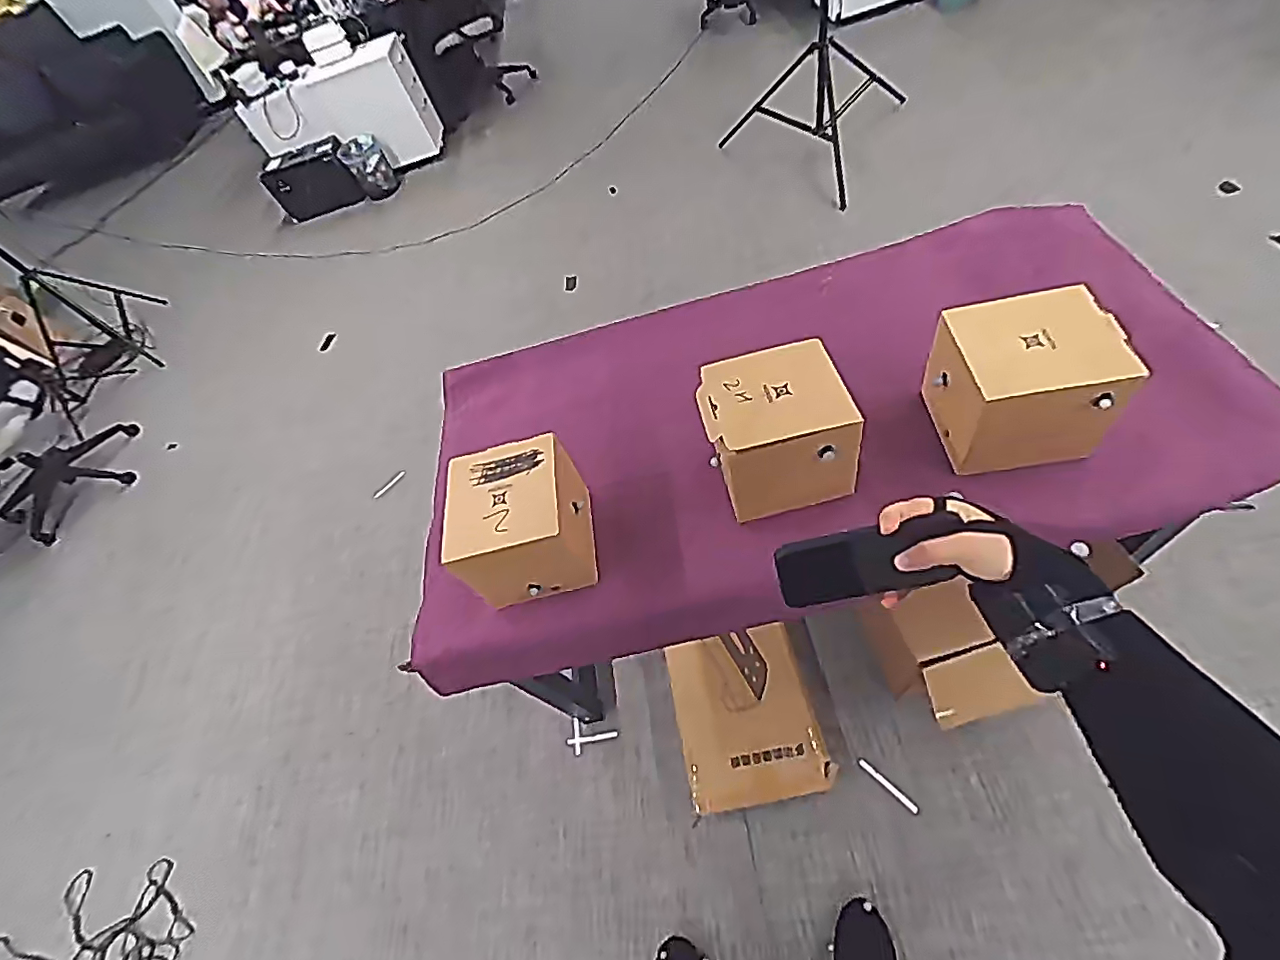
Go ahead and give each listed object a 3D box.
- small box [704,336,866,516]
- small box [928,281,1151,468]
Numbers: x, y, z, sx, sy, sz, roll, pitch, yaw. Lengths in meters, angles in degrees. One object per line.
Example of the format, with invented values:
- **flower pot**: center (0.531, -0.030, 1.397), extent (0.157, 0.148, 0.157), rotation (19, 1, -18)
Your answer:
- **small box**: center (0.202, -0.072, 0.779), extent (0.179, 0.176, 0.168), rotation (-15, 52, 6)
- **small box**: center (0.510, -0.133, 0.731), extent (0.179, 0.176, 0.168), rotation (-9, 55, 10)
